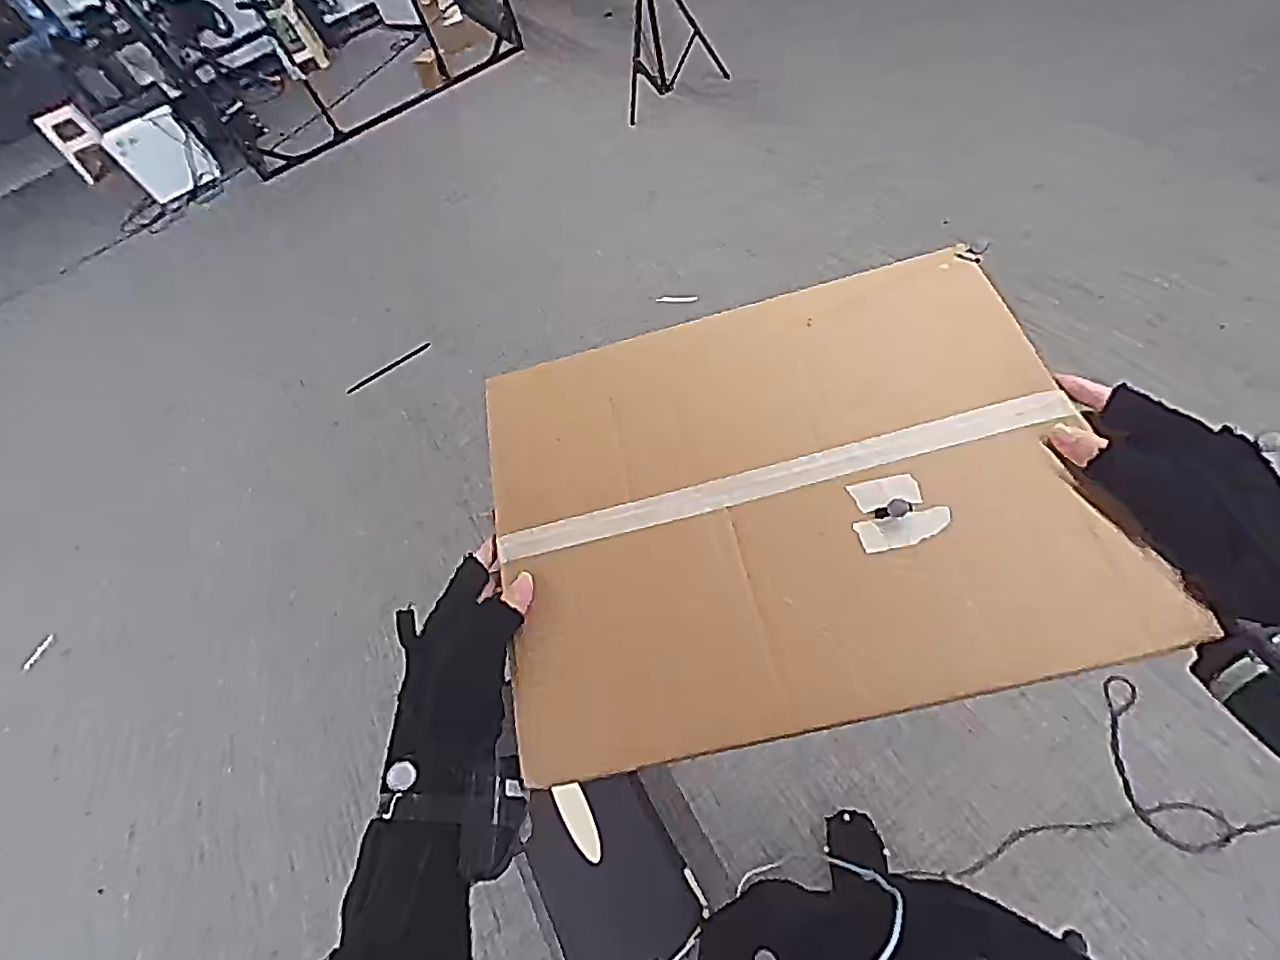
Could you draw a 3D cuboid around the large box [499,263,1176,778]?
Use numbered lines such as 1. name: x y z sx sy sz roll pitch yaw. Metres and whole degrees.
1. large box: 0.121 0.065 0.528 0.408 0.320 0.320 -15 65 4
